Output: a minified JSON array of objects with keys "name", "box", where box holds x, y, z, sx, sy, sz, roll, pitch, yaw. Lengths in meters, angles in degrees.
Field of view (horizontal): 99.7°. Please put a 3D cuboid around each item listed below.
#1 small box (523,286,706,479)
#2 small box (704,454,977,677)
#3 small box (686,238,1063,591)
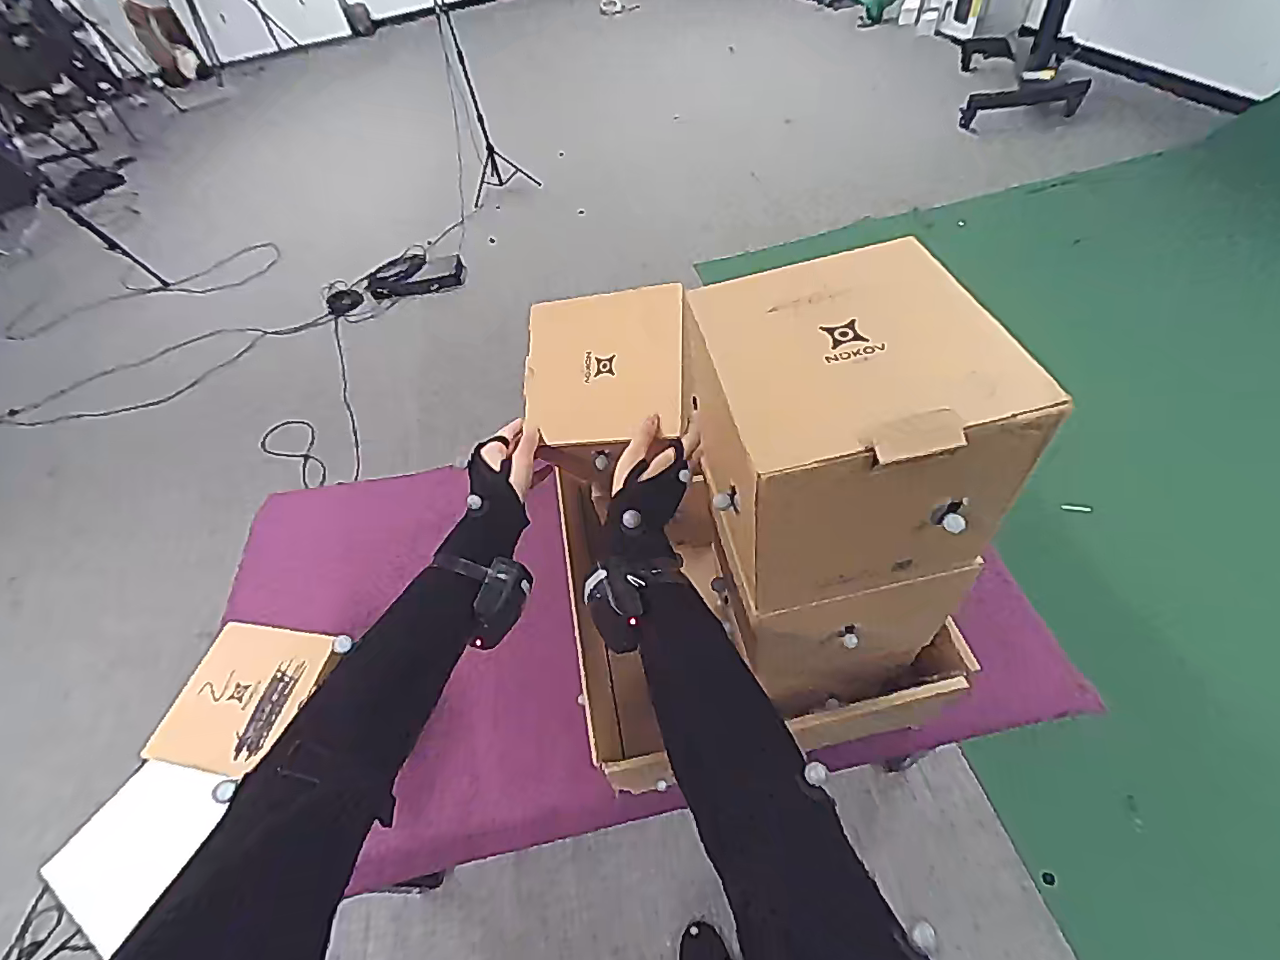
[{"name":"small box","box":[-0.014,-0.100,0.633,0.179,0.176,0.168,-3,76,18]},{"name":"small box","box":[0.167,0.067,0.512,0.179,0.176,0.168,-14,51,2]},{"name":"small box","box":[0.138,-0.036,0.389,0.168,0.176,0.179,-13,51,2]}]
